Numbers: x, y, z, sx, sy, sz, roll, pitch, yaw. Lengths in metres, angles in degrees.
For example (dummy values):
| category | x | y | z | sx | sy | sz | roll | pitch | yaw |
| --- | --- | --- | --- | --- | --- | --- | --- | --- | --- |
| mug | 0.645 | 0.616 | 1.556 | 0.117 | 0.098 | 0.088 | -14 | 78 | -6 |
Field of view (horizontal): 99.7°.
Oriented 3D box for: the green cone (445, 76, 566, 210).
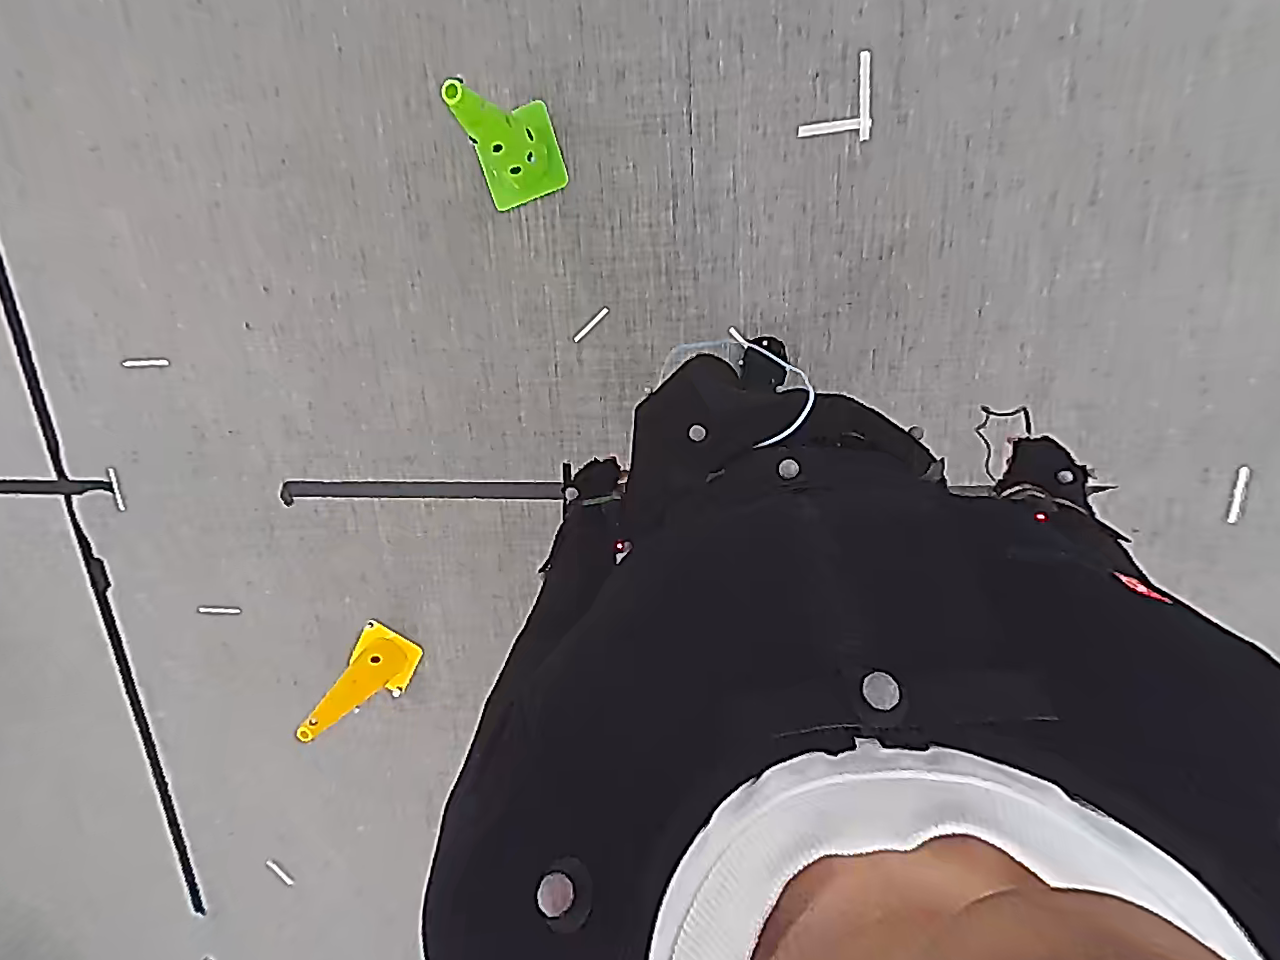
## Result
| category | x | y | z | sx | sy | sz | roll | pitch | yaw |
| --- | --- | --- | --- | --- | --- | --- | --- | --- | --- |
| green cone | -0.319 | -0.747 | 1.153 | 0.202 | 0.368 | 0.200 | -16 | 101 | 11 |
